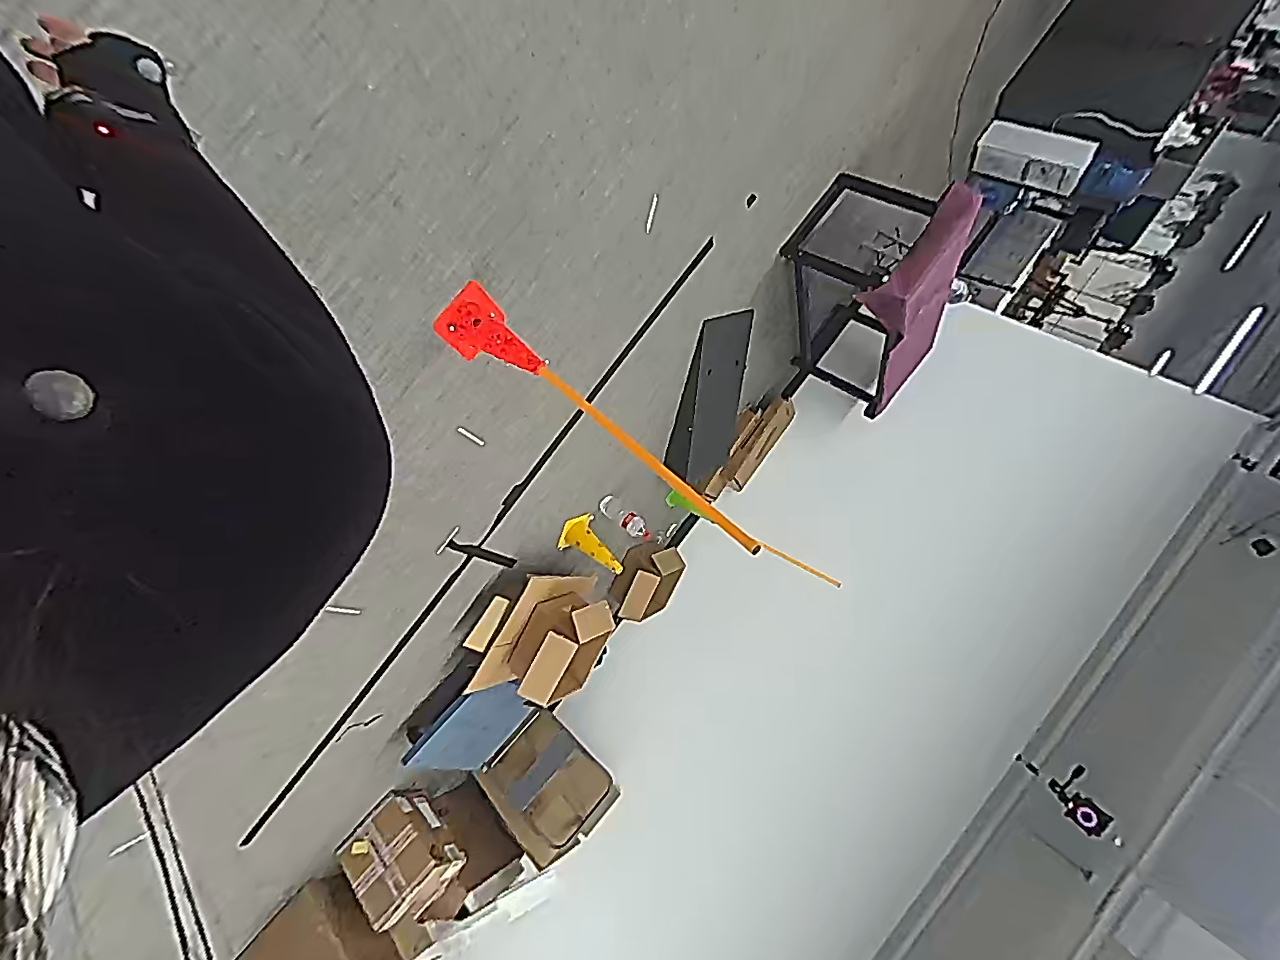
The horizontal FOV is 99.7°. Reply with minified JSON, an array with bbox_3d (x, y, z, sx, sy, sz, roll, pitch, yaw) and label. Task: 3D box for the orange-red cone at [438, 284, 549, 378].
[{"bbox_3d":[-0.401,-0.404,1.631,0.198,0.360,0.199,-50,154,-6],"label":"orange-red cone"}]
